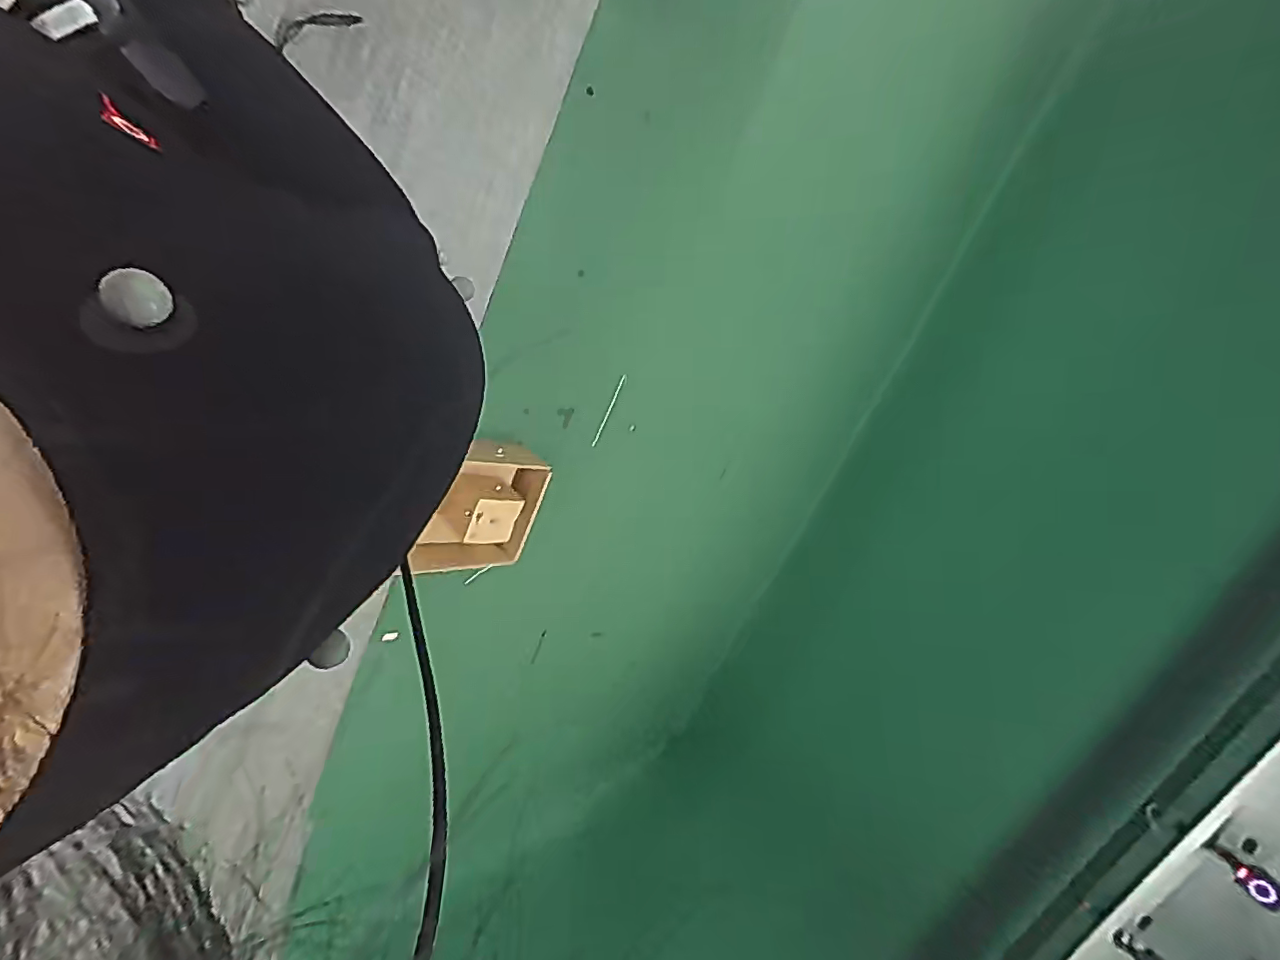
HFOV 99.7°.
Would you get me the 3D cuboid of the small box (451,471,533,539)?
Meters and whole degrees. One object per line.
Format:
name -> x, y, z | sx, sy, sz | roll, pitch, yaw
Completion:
small box -> -0.496, 0.082, 1.803 | 0.179, 0.176, 0.168 | 5, 116, -49
